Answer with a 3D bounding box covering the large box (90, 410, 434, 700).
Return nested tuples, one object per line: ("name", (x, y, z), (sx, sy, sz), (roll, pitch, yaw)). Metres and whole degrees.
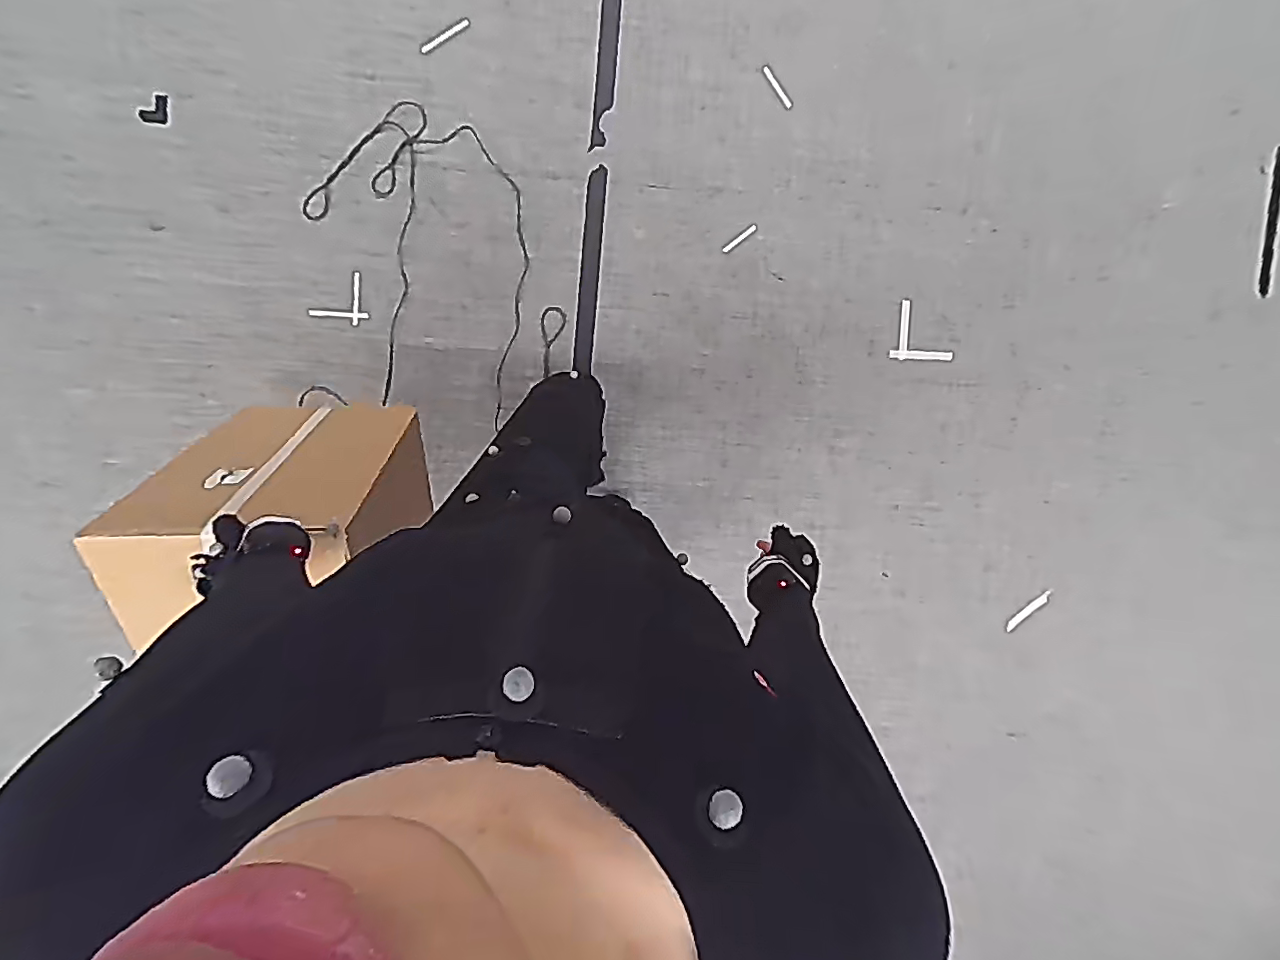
("large box", (-0.563, 0.100, 0.926), (0.320, 0.408, 0.320), (-3, 121, -7))
